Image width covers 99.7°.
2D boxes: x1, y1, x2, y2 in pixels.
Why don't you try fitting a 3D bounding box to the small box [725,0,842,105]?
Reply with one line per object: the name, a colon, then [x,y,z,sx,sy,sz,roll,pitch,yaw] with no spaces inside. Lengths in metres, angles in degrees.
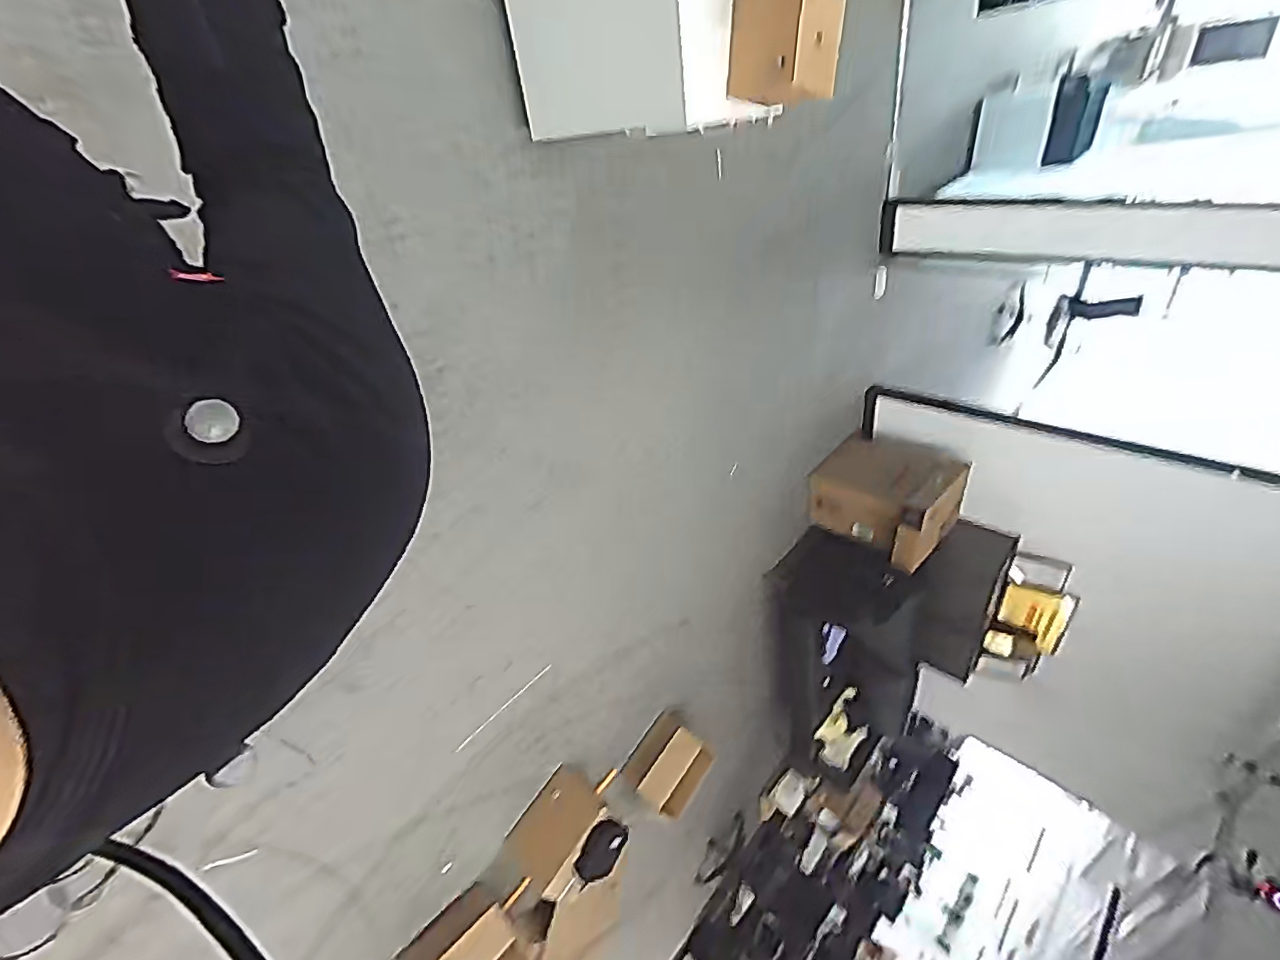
small box: [0.294,-0.912,1.131,0.168,0.176,0.179,-22,124,-40]
